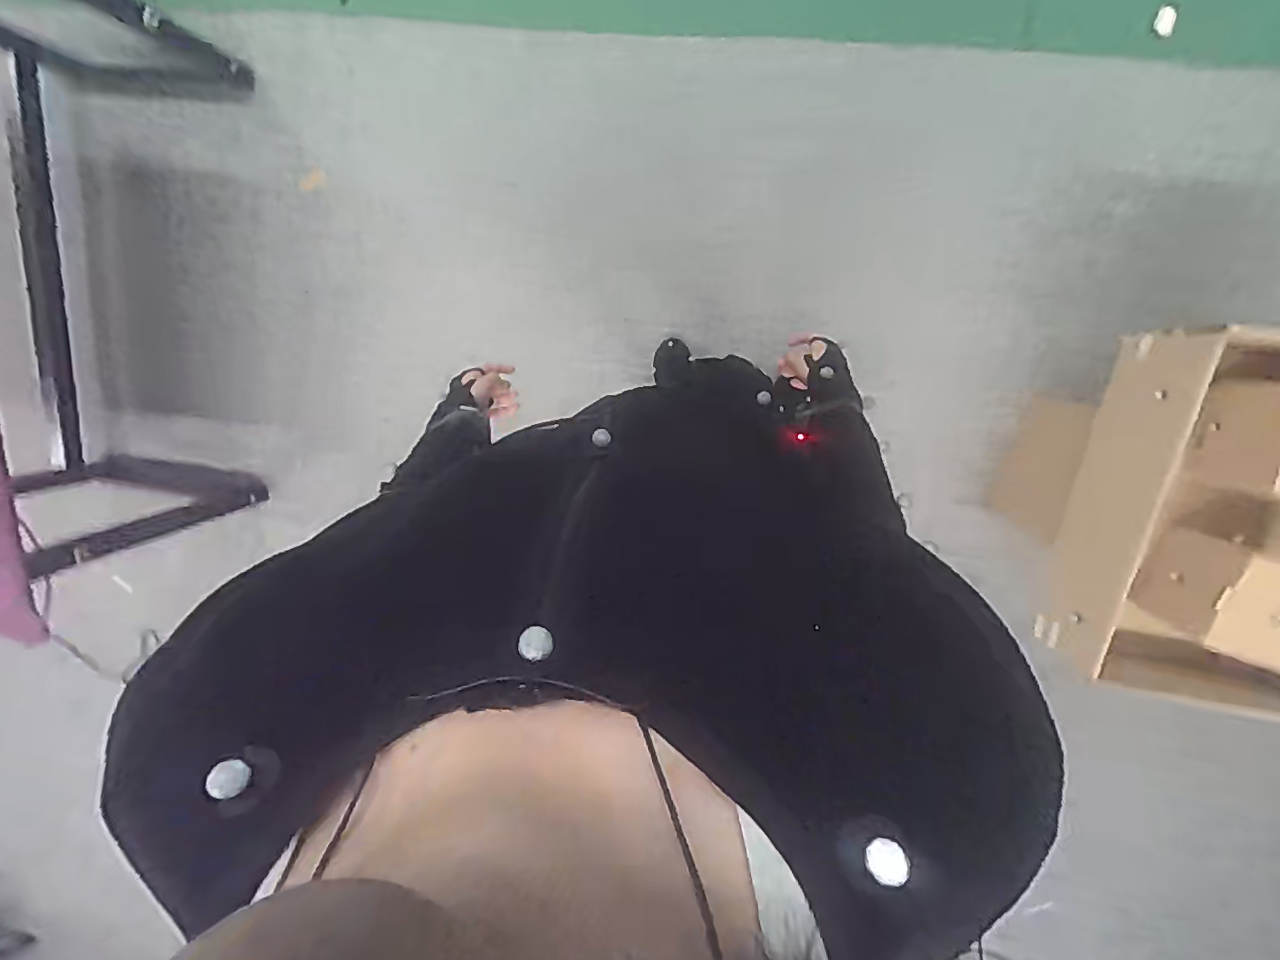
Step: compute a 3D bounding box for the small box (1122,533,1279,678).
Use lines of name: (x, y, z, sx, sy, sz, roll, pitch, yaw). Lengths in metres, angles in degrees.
small box: (1.006, 0.206, 0.934, 0.179, 0.176, 0.168, 19, 104, 2)
